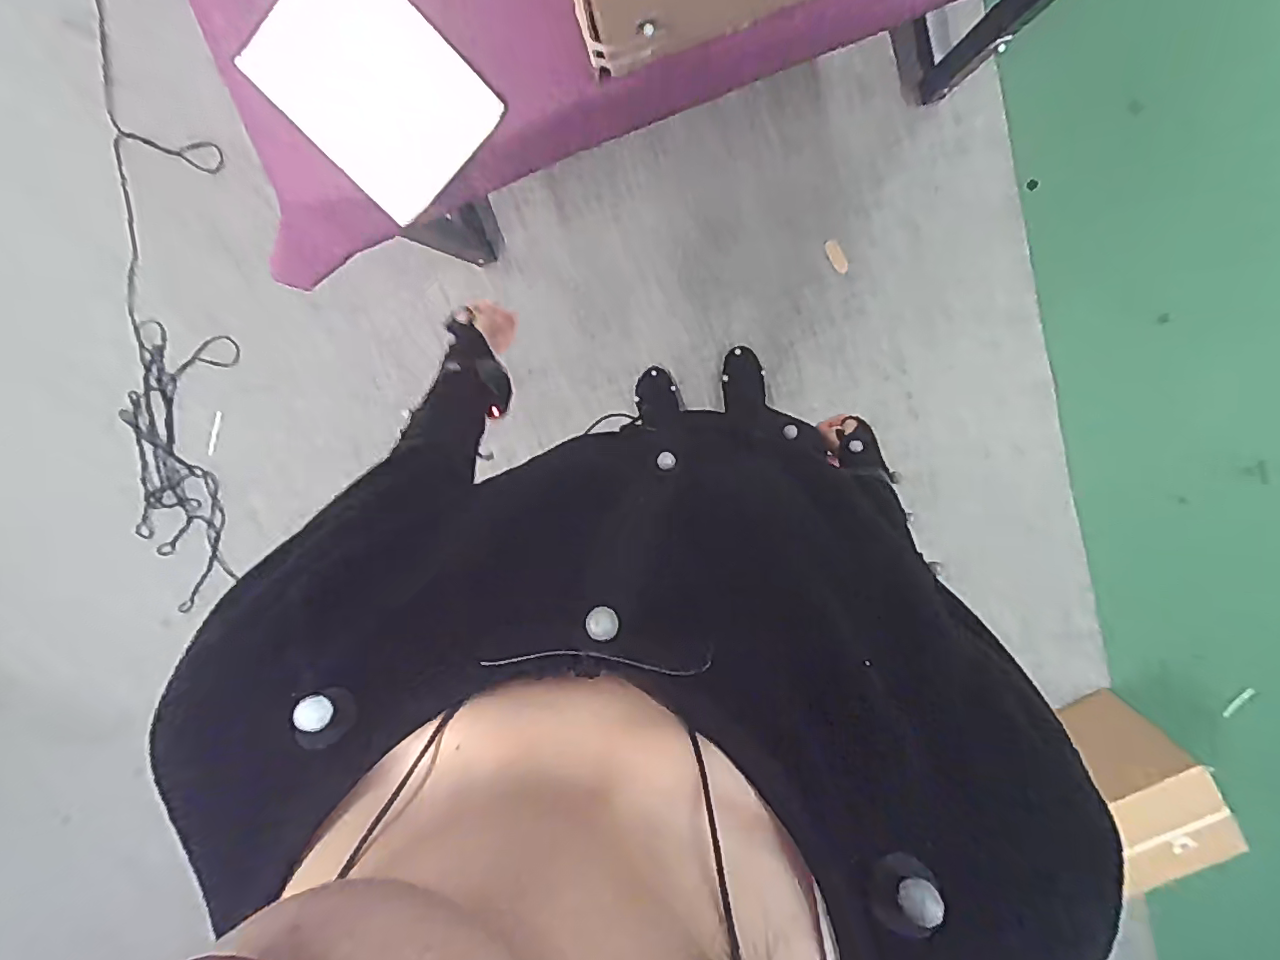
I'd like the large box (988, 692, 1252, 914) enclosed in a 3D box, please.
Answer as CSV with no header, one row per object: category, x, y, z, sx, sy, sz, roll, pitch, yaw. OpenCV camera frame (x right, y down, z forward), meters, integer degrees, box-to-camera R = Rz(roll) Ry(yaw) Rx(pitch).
large box,1.308,0.885,1.517,0.408,0.320,0.320,-33,101,9
